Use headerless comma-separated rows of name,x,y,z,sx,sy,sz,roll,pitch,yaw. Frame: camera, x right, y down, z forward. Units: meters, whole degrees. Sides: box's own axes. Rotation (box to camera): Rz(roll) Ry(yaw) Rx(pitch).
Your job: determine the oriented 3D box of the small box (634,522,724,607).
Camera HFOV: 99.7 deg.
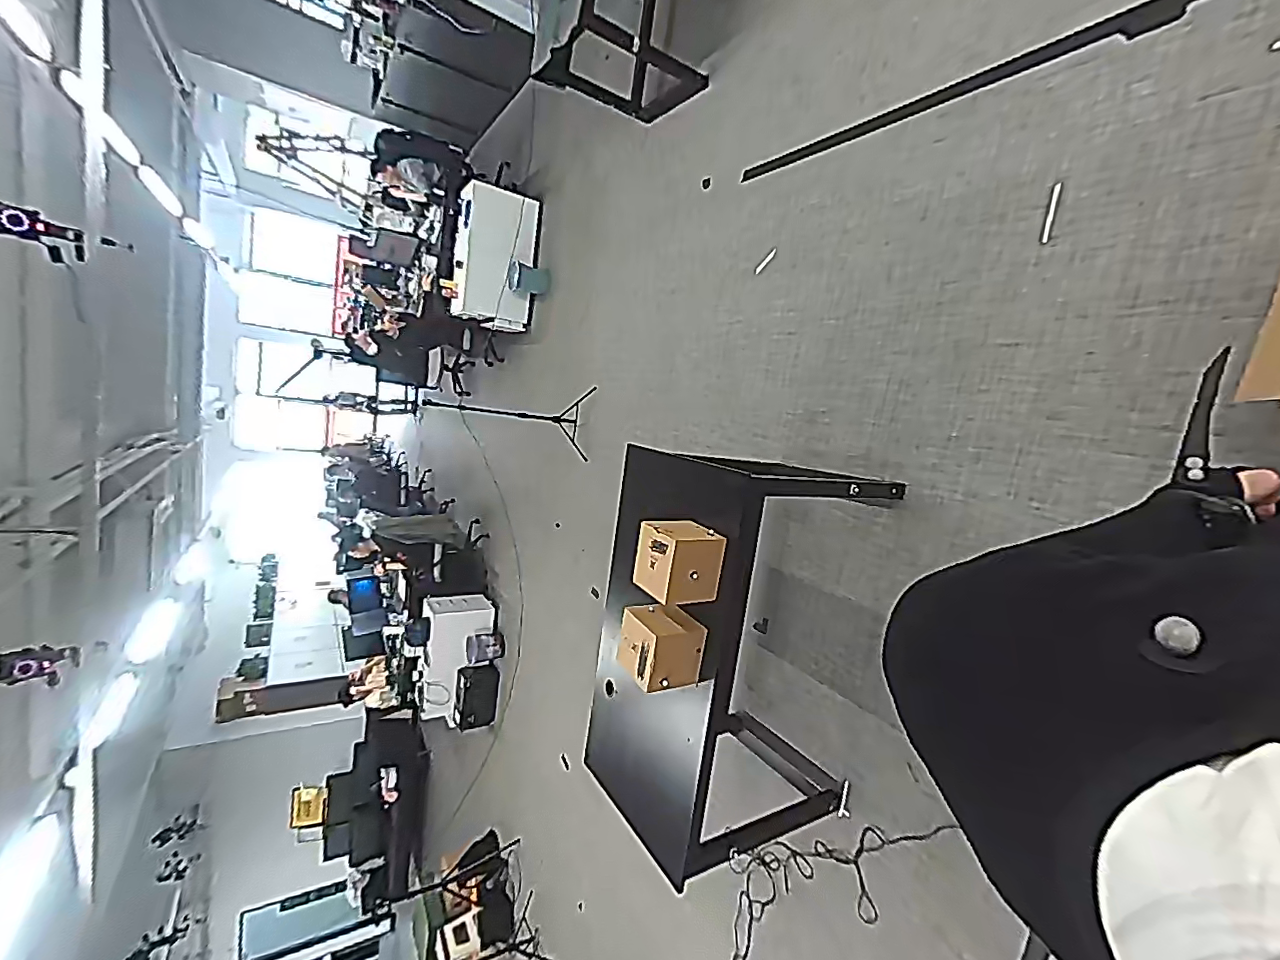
small box,0.105,0.218,1.444,0.168,0.176,0.179,24,109,56
